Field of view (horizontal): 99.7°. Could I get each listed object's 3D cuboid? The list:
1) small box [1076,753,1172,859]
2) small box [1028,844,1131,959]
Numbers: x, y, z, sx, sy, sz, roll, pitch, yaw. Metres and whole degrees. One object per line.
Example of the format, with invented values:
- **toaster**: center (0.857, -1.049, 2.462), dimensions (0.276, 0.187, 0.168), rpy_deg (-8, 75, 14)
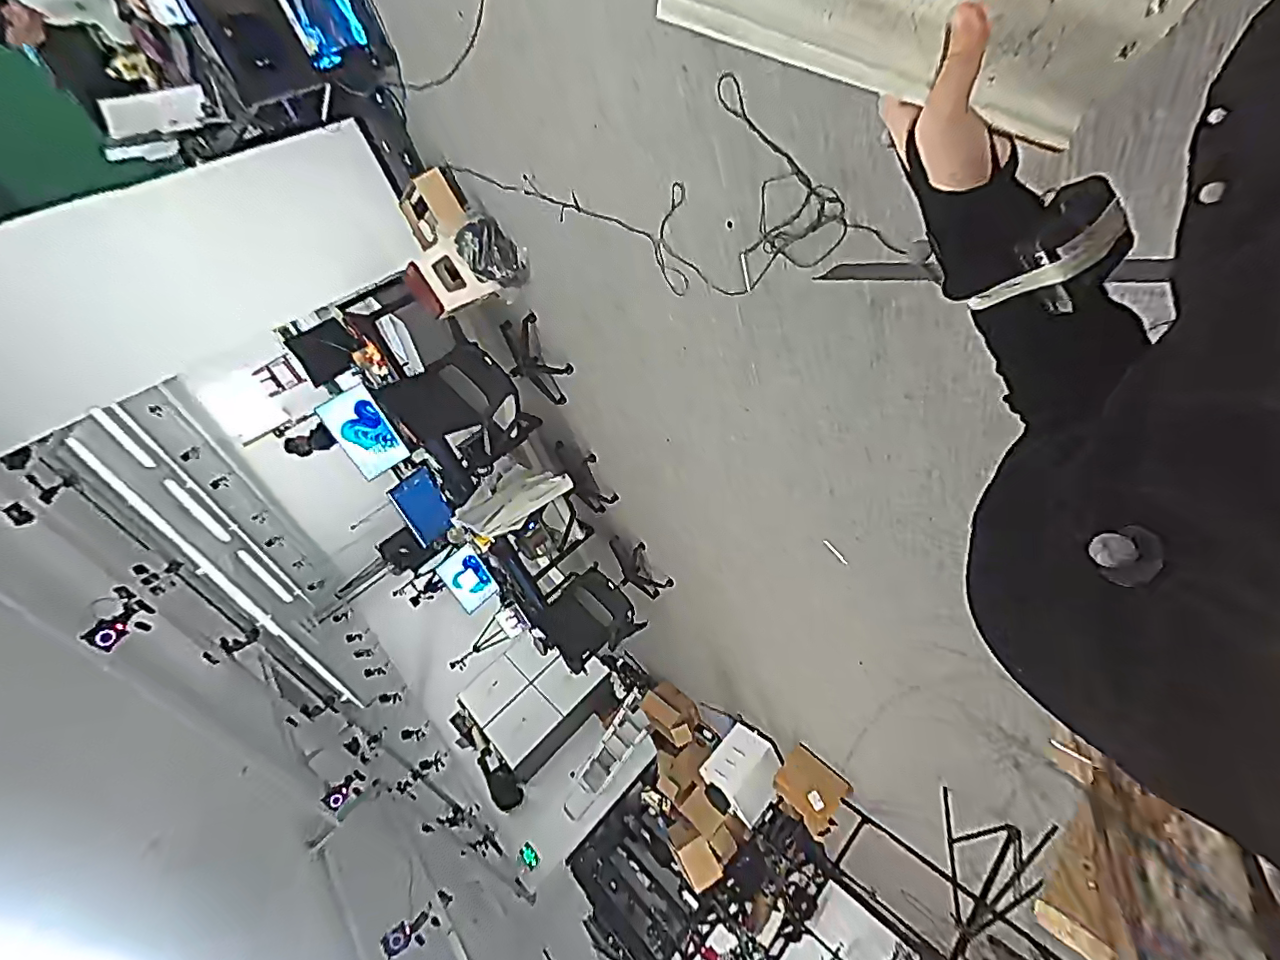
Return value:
- **small box**: center (1.402, 0.936, 1.568), dimensions (0.168, 0.176, 0.179), rpy_deg (20, 143, 48)
- **small box**: center (1.167, 1.127, 1.439), dimensions (0.168, 0.176, 0.179), rpy_deg (21, 143, 46)
